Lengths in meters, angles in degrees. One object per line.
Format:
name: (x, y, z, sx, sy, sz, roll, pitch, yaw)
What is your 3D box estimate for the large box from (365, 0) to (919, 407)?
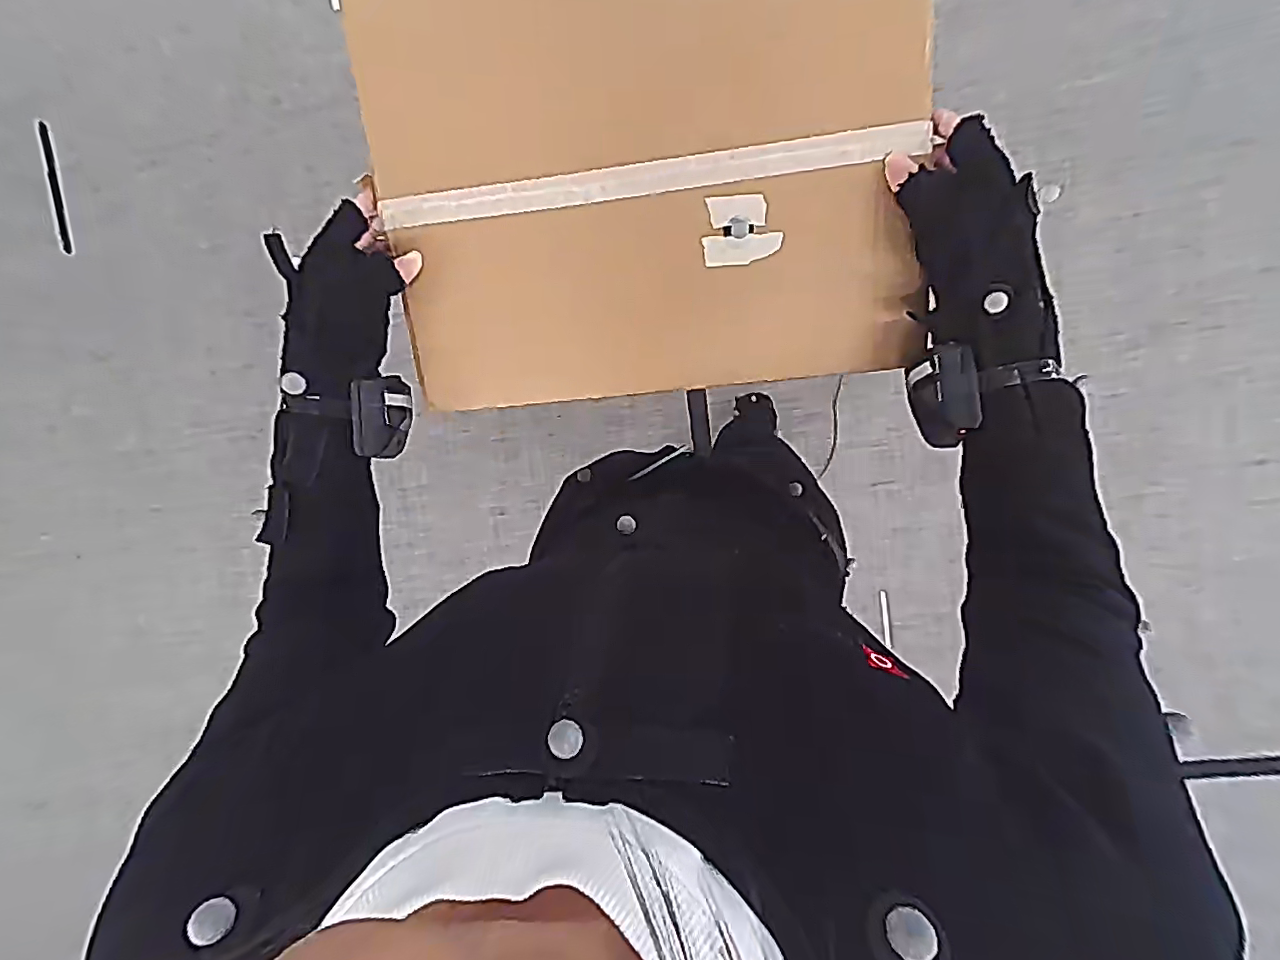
large box: (0.016, -0.266, 0.559, 0.408, 0.320, 0.320, -5, 105, 6)
